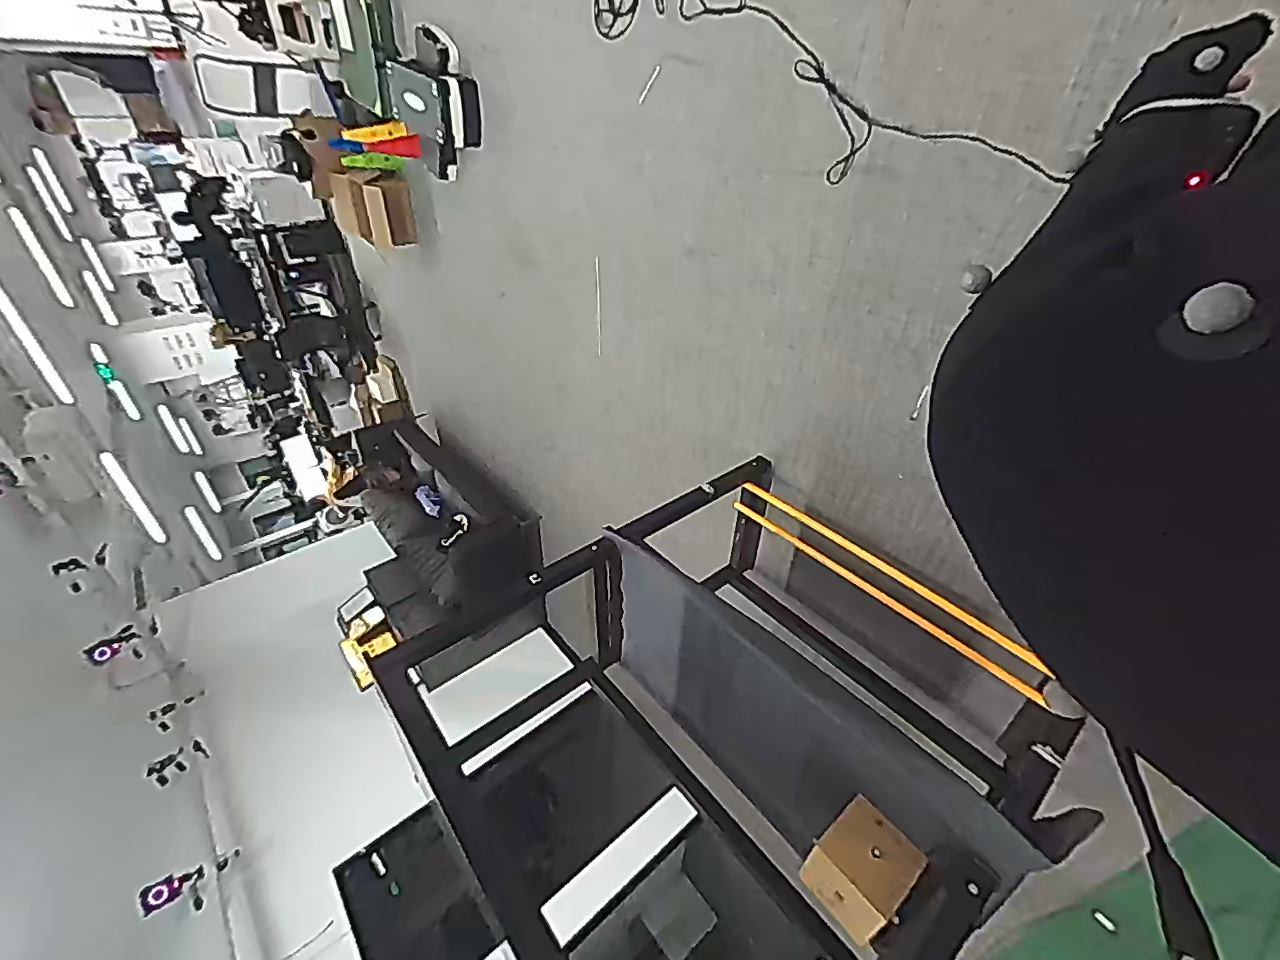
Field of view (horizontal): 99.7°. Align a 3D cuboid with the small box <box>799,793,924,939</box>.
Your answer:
[{"bbox_3d":[0.476,0.819,1.161,0.168,0.176,0.179,38,140,37],"label":"small box"}]
